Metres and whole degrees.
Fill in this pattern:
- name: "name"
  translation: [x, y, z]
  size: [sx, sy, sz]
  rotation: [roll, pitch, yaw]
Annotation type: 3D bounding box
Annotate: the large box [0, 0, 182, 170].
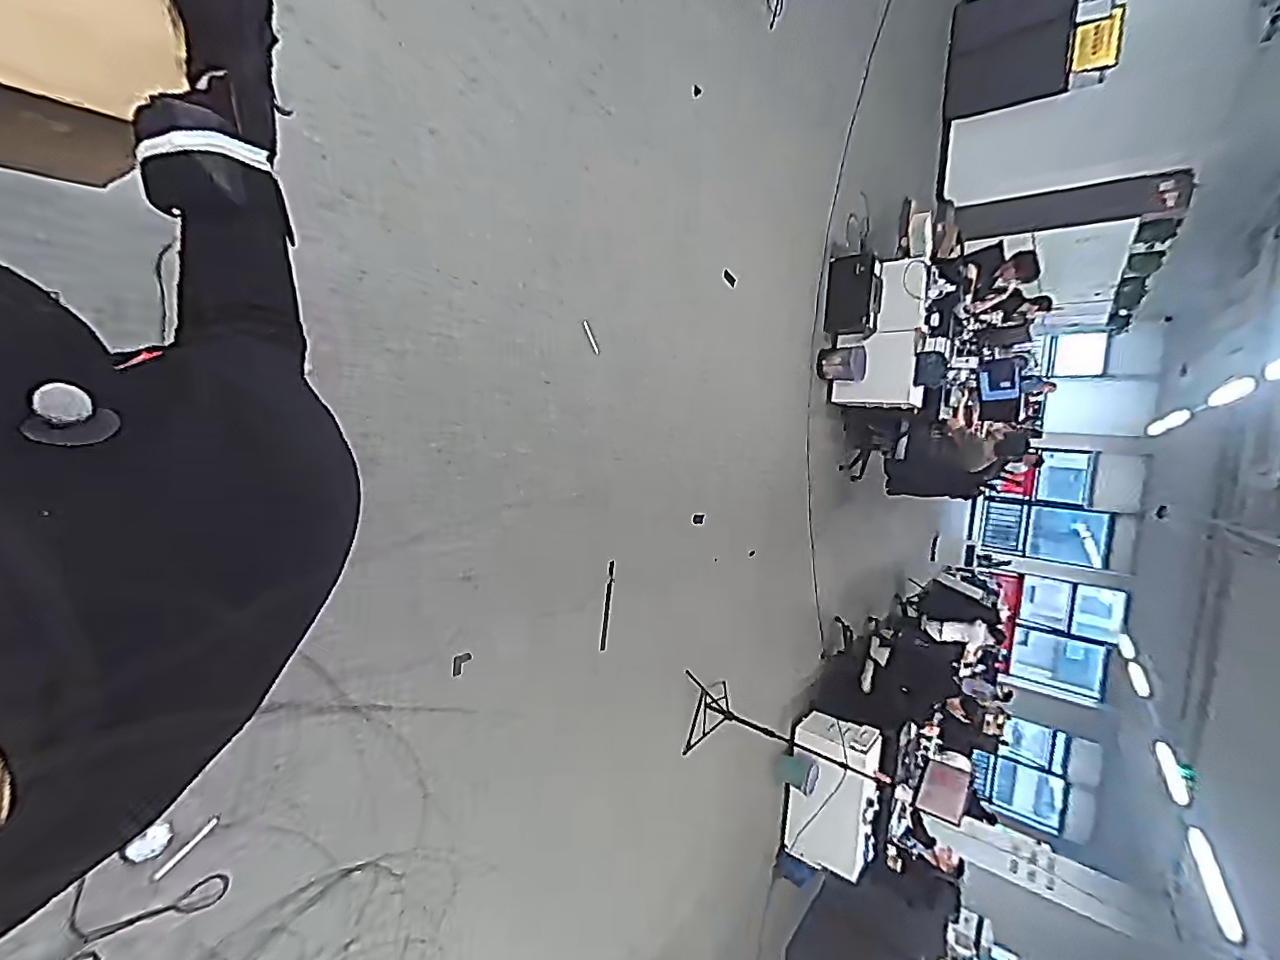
- name: "large box"
  translation: [-0.568, -0.417, 0.299]
  size: [0.408, 0.320, 0.320]
  rotation: [-12, 112, -53]
